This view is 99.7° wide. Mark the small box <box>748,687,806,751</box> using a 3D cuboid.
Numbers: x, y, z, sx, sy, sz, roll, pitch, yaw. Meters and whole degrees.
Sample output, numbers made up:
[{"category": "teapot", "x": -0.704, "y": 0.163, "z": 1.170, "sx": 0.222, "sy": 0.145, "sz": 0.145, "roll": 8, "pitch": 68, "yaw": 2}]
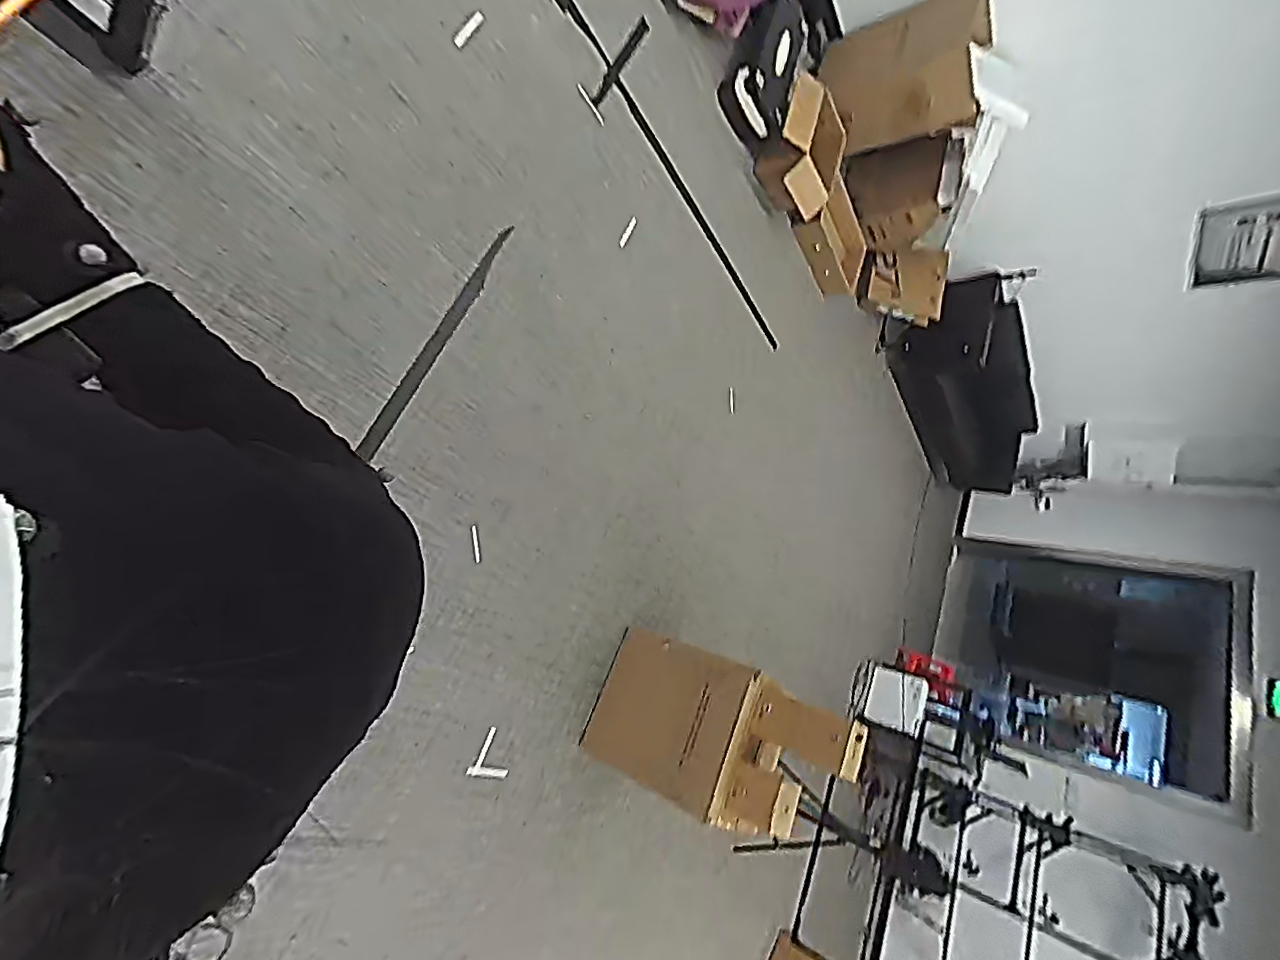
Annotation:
[{"category": "small box", "x": 0.514, "y": 0.857, "z": 1.926, "sx": 0.179, "sy": 0.176, "sz": 0.168, "roll": 41, "pitch": 64, "yaw": -40}]

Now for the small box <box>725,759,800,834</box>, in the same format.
[{"category": "small box", "x": 0.416, "y": 1.072, "z": 1.836, "sx": 0.179, "sy": 0.176, "sz": 0.168, "roll": 42, "pitch": 61, "yaw": -41}]

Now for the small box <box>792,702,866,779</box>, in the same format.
[{"category": "small box", "x": 0.632, "y": 0.868, "z": 1.812, "sx": 0.168, "sy": 0.176, "sz": 0.179, "roll": 41, "pitch": 65, "yaw": -41}]
